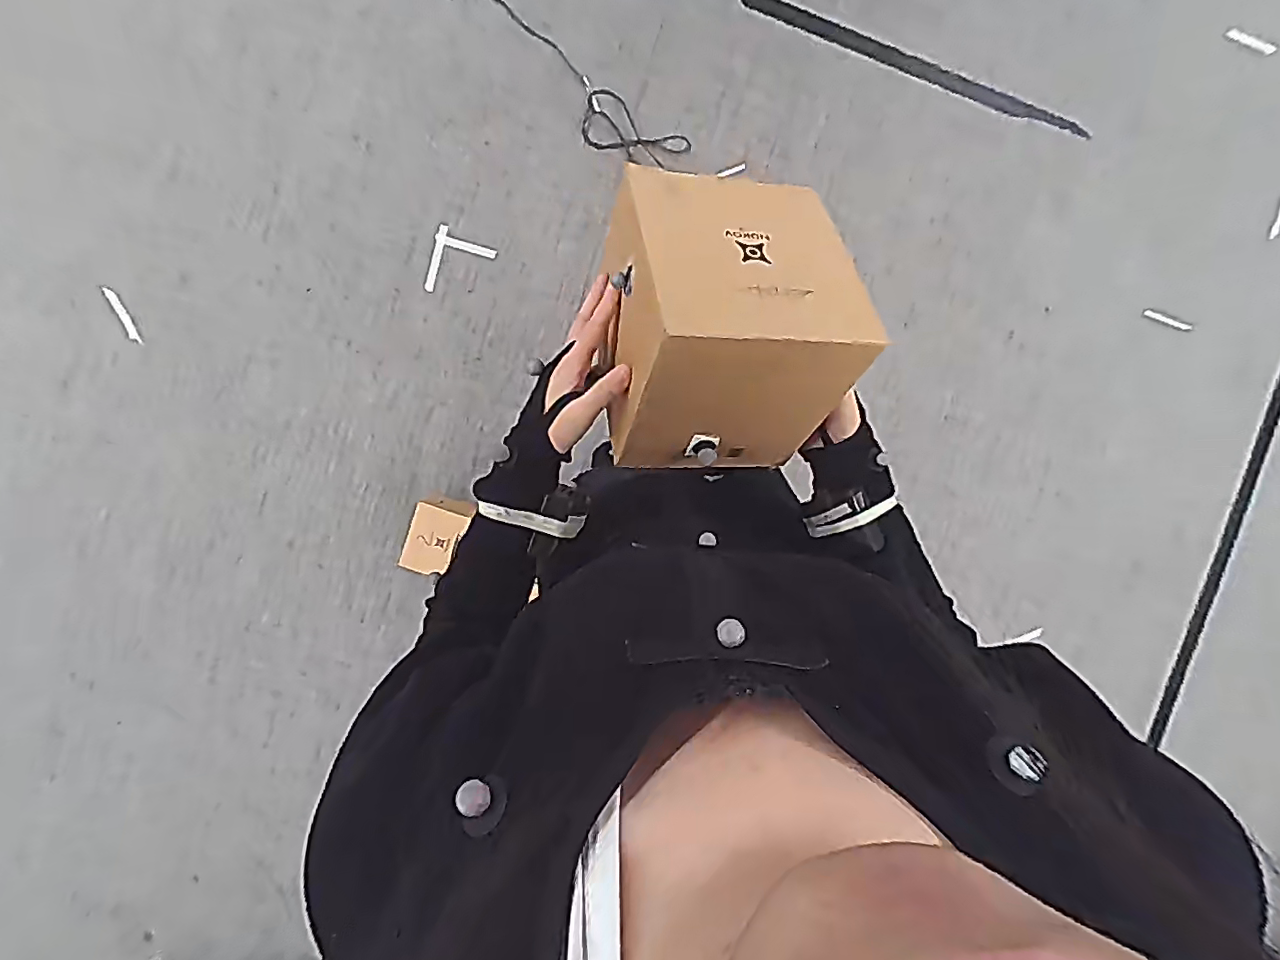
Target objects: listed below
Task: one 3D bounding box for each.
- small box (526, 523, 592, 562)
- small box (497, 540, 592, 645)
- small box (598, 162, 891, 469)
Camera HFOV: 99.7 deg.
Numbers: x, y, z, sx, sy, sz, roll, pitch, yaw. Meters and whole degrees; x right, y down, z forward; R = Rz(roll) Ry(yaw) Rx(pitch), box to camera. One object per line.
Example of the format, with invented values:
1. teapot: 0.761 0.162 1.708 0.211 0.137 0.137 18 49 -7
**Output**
1. small box: -0.228 0.226 1.404 0.168 0.176 0.179 20 92 -6
2. small box: -0.214 0.248 1.241 0.168 0.176 0.179 16 94 -5
3. small box: 0.064 -0.126 0.454 0.168 0.176 0.179 -3 62 -15
